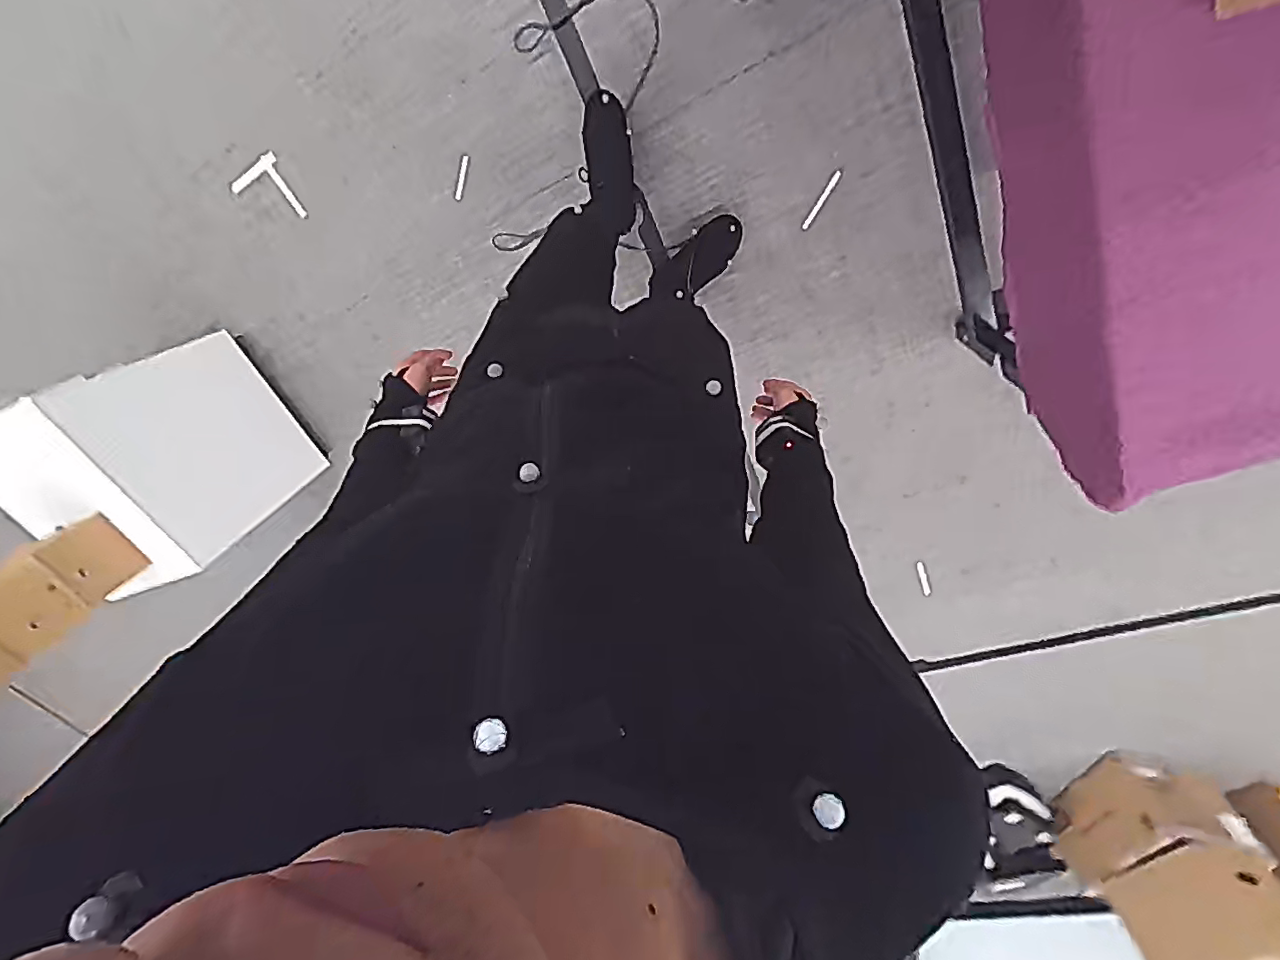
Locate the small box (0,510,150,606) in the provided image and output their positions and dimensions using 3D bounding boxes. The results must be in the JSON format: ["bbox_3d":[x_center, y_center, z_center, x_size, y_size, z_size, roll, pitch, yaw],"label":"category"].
[{"bbox_3d":[-1.390,0.202,1.335,0.168,0.176,0.179,-15,117,17],"label":"small box"}]

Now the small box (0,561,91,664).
[{"bbox_3d":[-1.403,0.301,1.206,0.179,0.176,0.168,-13,119,17],"label":"small box"}]
